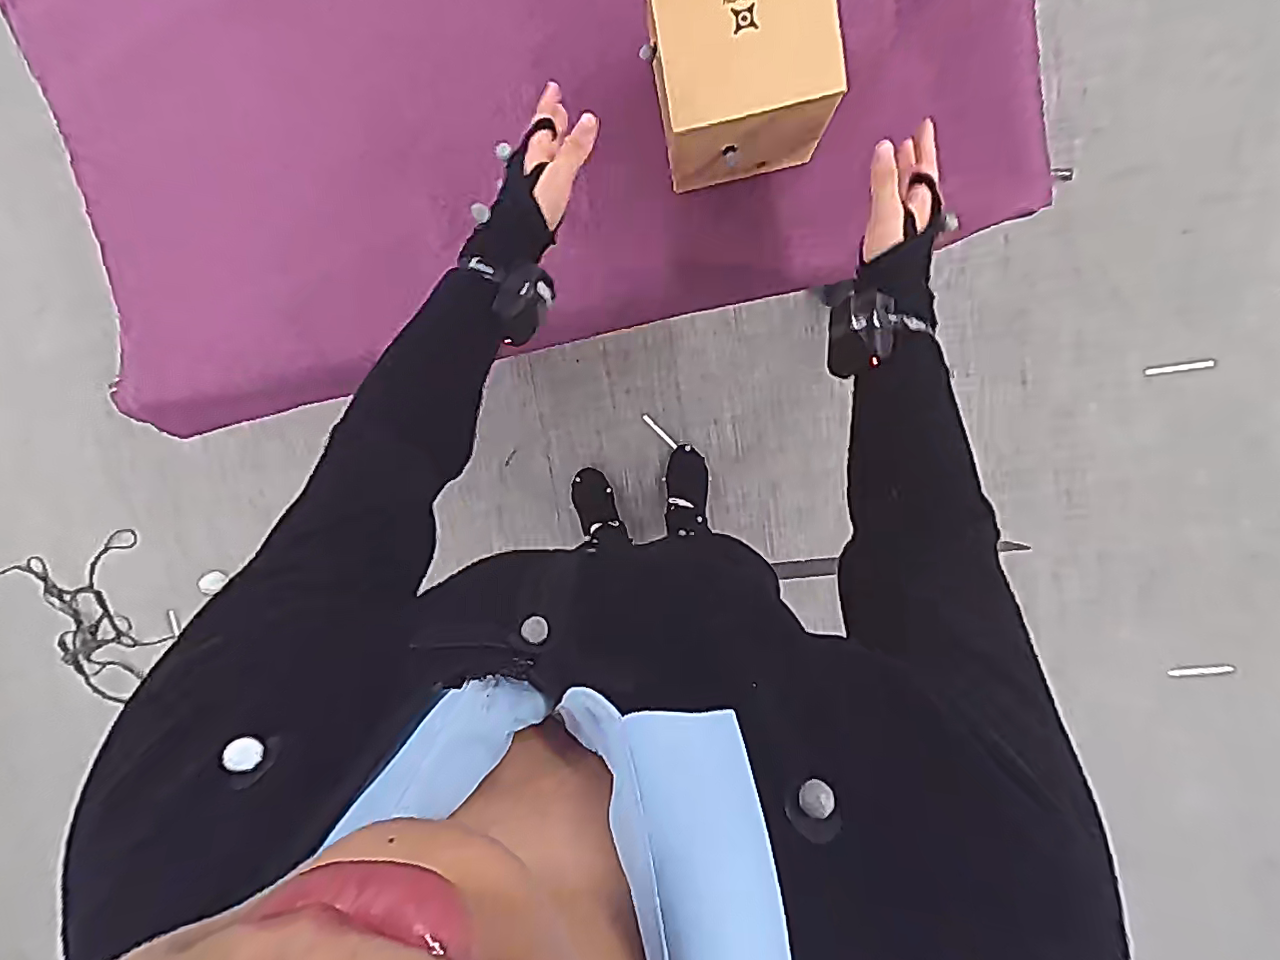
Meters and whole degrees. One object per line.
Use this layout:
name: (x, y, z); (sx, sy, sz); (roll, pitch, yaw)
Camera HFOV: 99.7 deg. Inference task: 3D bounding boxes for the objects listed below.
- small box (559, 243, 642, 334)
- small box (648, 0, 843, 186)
small box: (-0.091, -0.461, 1.333); (0.168, 0.176, 0.179); (-7, 98, 5)
small box: (0.104, -0.441, 0.579); (0.168, 0.176, 0.179); (-10, 98, 6)
